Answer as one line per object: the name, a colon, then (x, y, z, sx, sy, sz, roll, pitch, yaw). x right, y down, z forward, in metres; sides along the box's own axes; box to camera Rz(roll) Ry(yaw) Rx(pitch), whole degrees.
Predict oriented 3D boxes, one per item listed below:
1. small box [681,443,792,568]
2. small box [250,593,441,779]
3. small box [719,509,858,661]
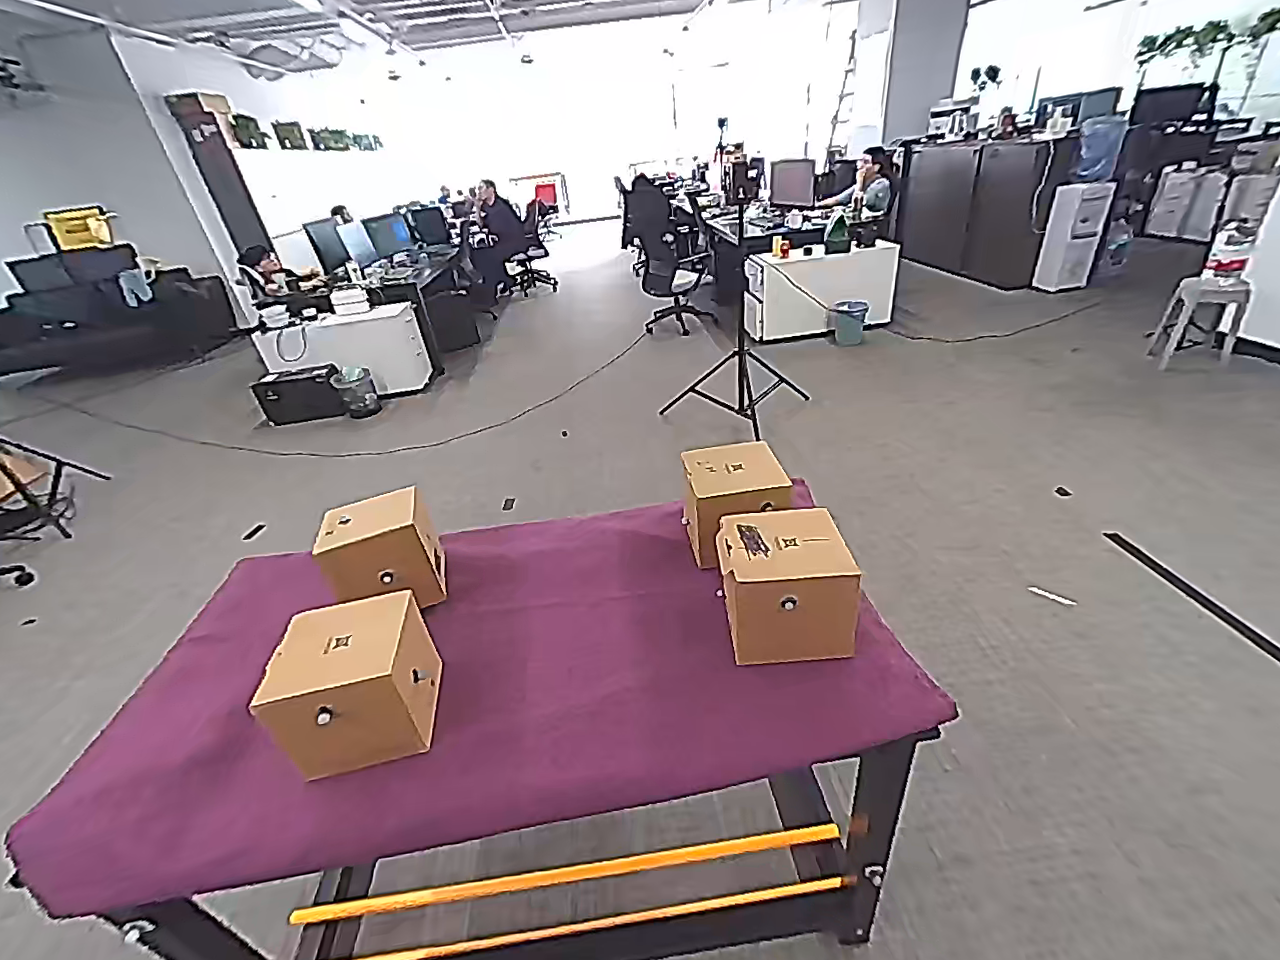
small box: (0.181, 0.049, 1.051, 0.179, 0.176, 0.168, -8, 32, -2)
small box: (-0.404, 0.295, 0.783, 0.179, 0.176, 0.168, -12, 31, -6)
small box: (0.225, 0.166, 0.852, 0.179, 0.176, 0.168, -5, 30, 3)
